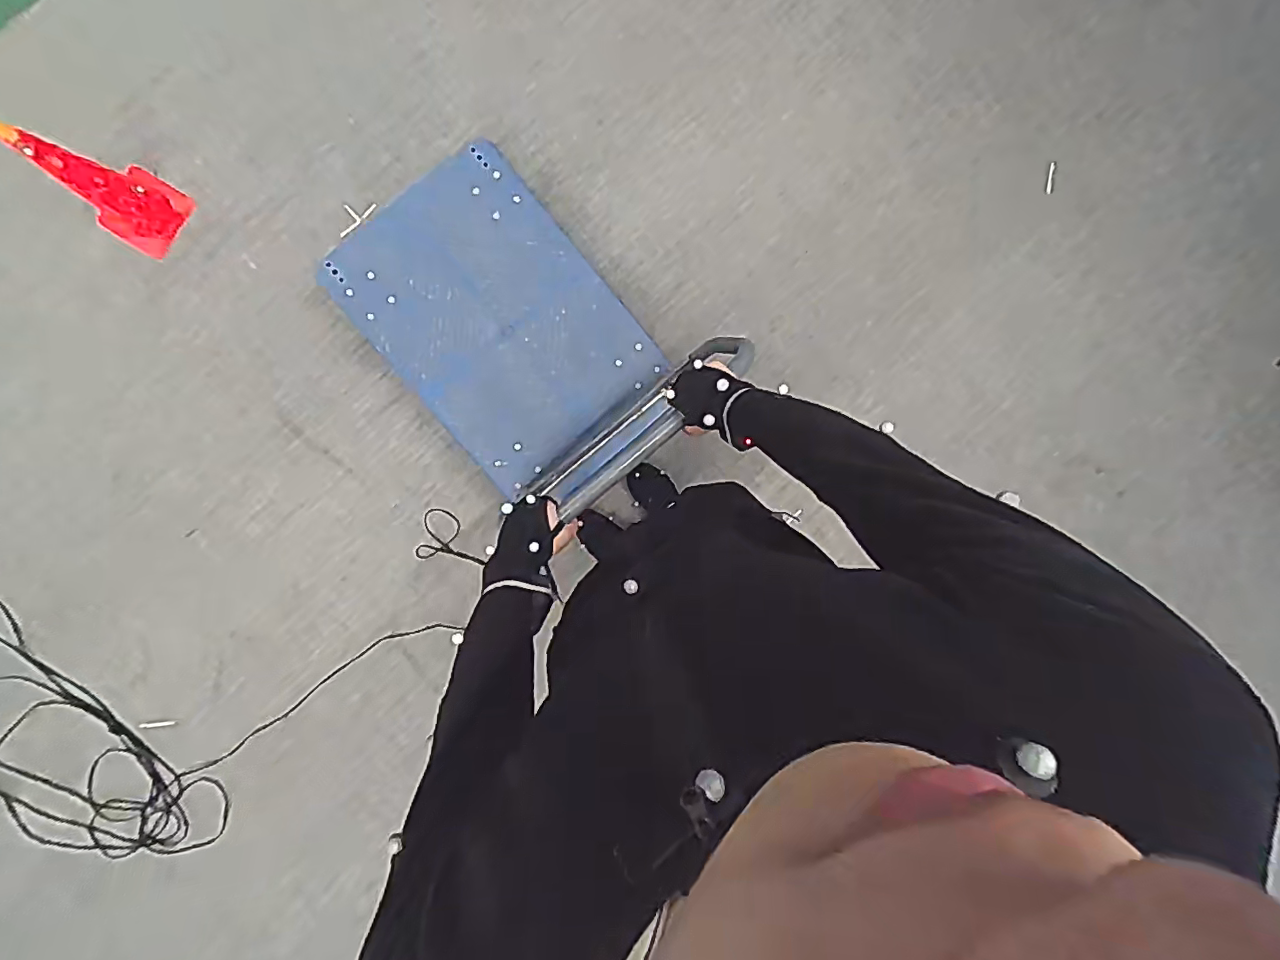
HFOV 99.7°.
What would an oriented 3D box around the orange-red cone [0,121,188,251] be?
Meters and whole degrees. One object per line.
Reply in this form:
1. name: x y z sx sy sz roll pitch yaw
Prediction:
1. orange-red cone: -1.373 -0.755 1.330 0.198 0.360 0.199 33 90 -4
